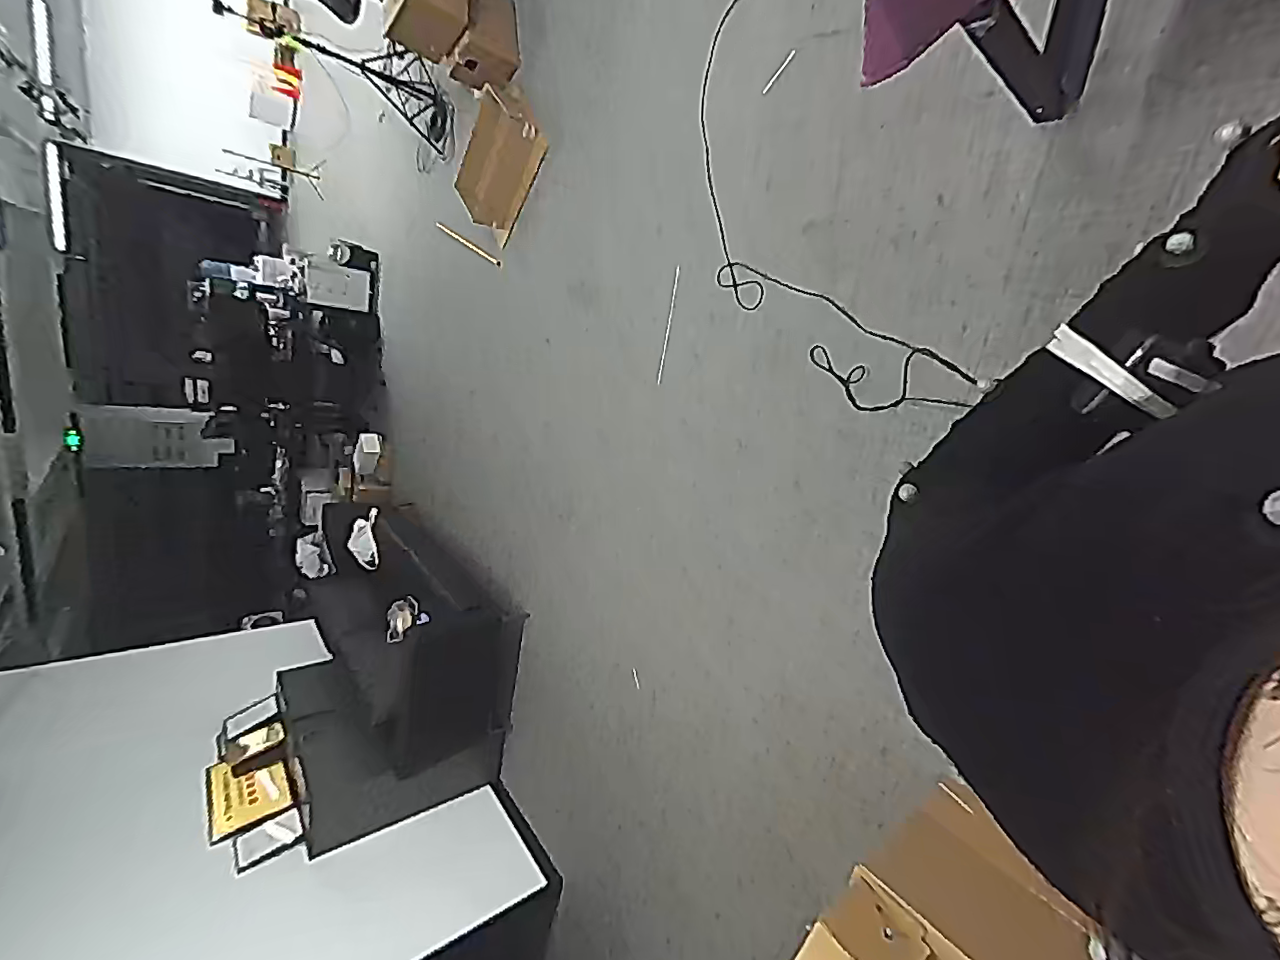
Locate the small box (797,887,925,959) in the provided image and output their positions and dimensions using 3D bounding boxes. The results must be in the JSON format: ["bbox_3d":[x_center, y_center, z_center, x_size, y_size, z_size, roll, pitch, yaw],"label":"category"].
[{"bbox_3d":[0.433,0.975,1.076,0.168,0.176,0.179,34,116,43],"label":"small box"}]
